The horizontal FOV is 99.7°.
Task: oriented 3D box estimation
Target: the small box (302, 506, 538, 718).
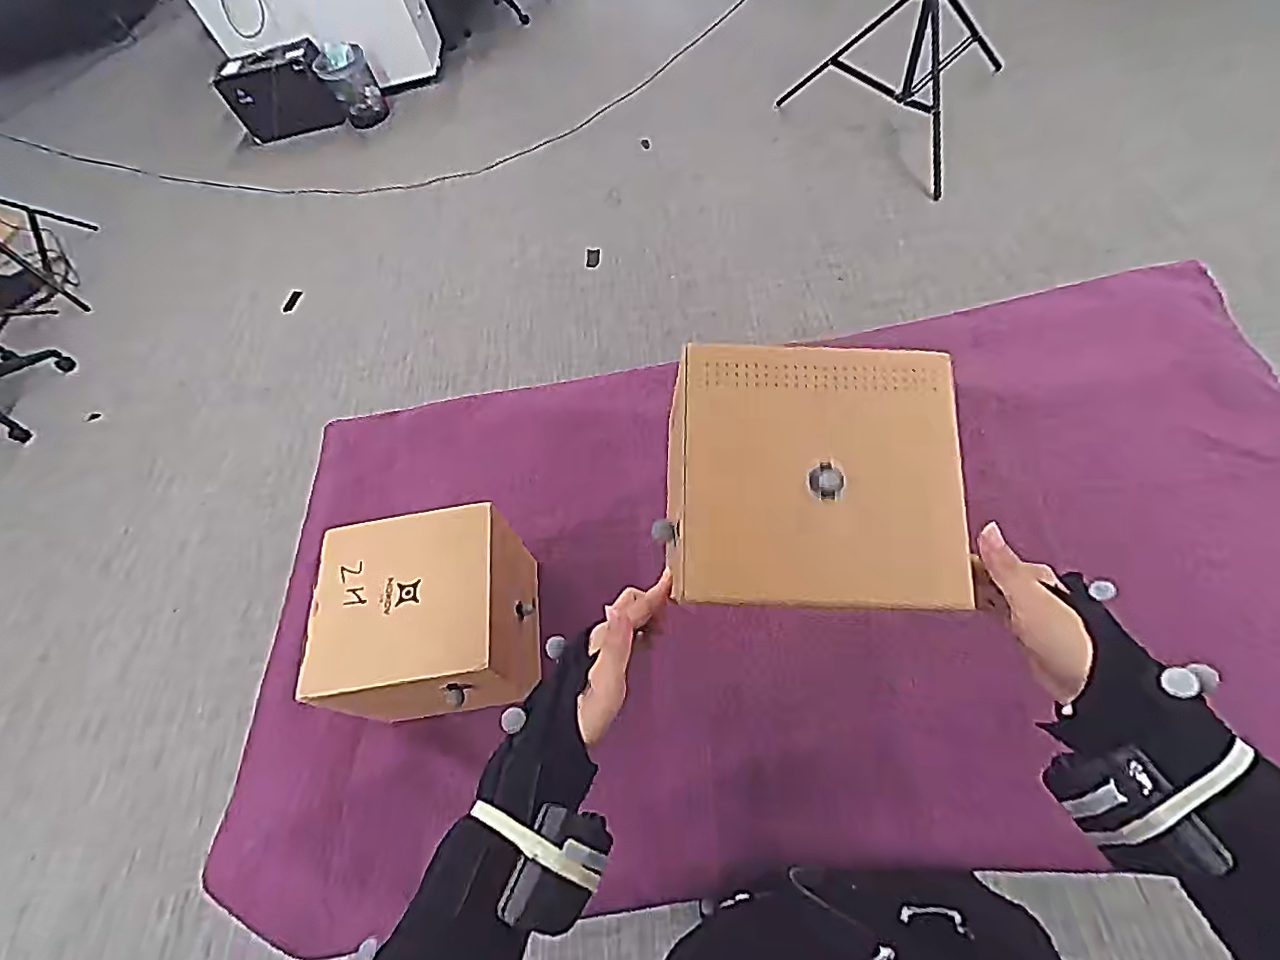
[{"bbox_3d":[-0.211,0.148,0.578,0.179,0.176,0.168,-9,59,2],"label":"small box"}]
